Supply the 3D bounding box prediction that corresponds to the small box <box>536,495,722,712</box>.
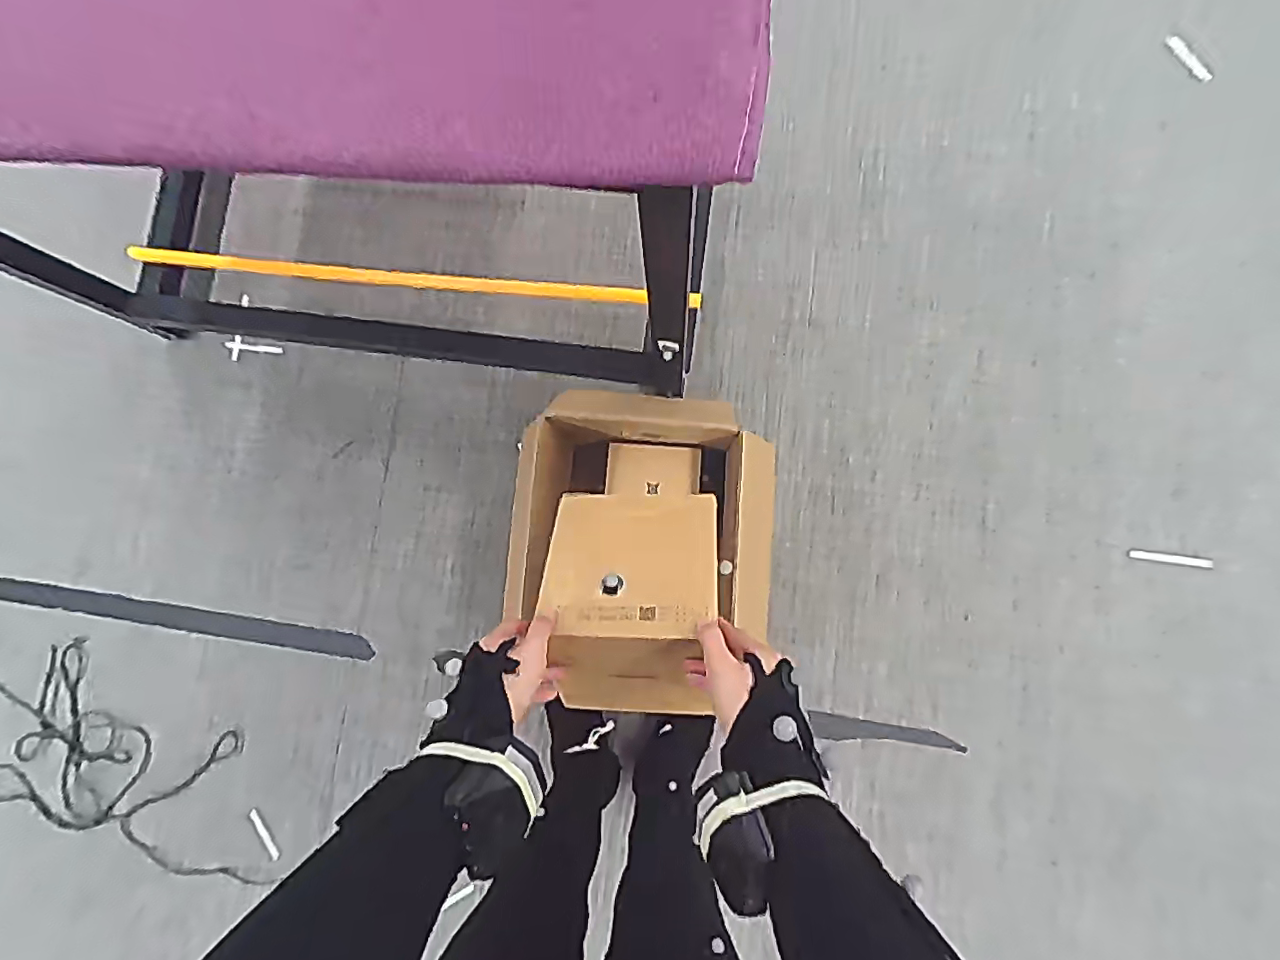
[{"bbox_3d":[0.000,0.135,0.572,0.168,0.179,0.176,-1,48,8],"label":"small box"}]
